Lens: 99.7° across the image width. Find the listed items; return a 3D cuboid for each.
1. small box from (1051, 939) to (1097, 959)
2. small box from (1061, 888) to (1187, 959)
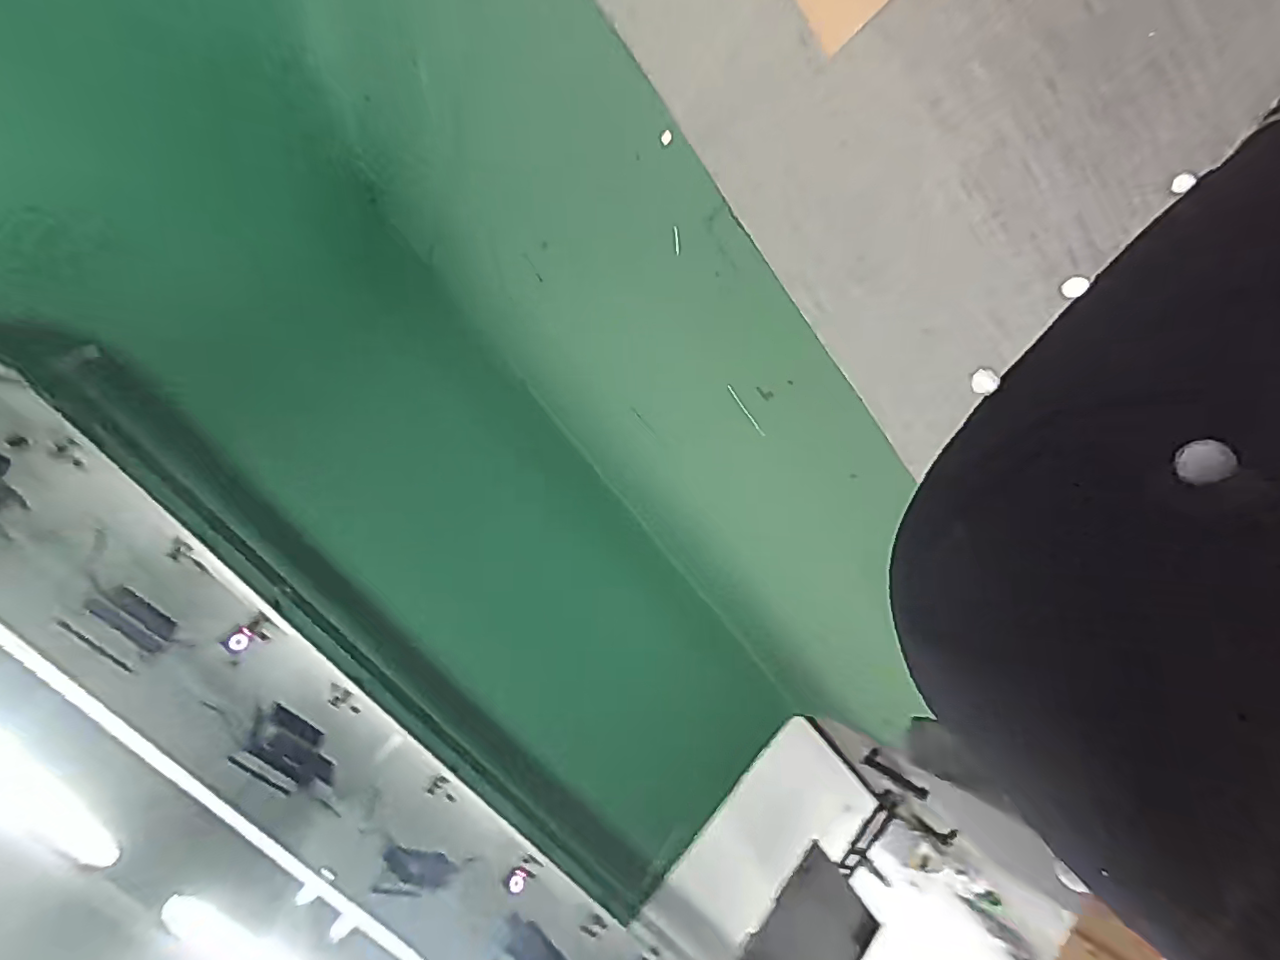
[{"bbox_3d":[1.138,1.314,1.348,0.179,0.176,0.168,51,162,-12],"label":"small box"},{"bbox_3d":[1.254,1.210,1.401,0.168,0.176,0.179,51,161,-16],"label":"small box"}]
